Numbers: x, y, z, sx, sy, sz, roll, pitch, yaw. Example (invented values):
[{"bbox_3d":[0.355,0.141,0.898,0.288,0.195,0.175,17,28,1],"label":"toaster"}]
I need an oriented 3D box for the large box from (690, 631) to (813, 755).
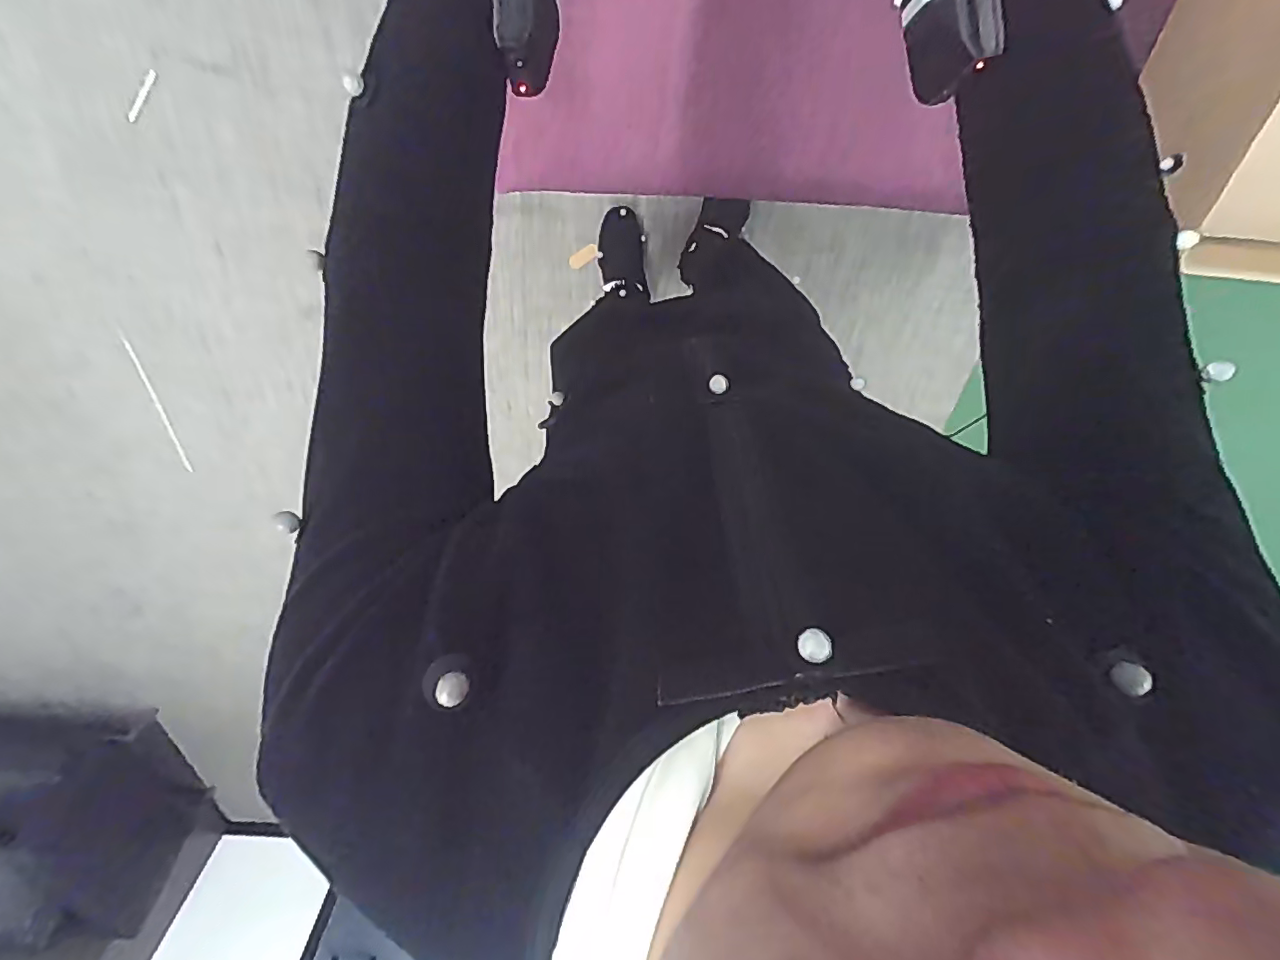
[{"bbox_3d":[0.465,0.907,2.310,0.408,0.320,0.320,-23,123,15],"label":"large box"}]

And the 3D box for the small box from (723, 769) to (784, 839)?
[{"bbox_3d":[0.420,1.204,2.018,0.179,0.176,0.168,-16,123,12],"label":"small box"}]
